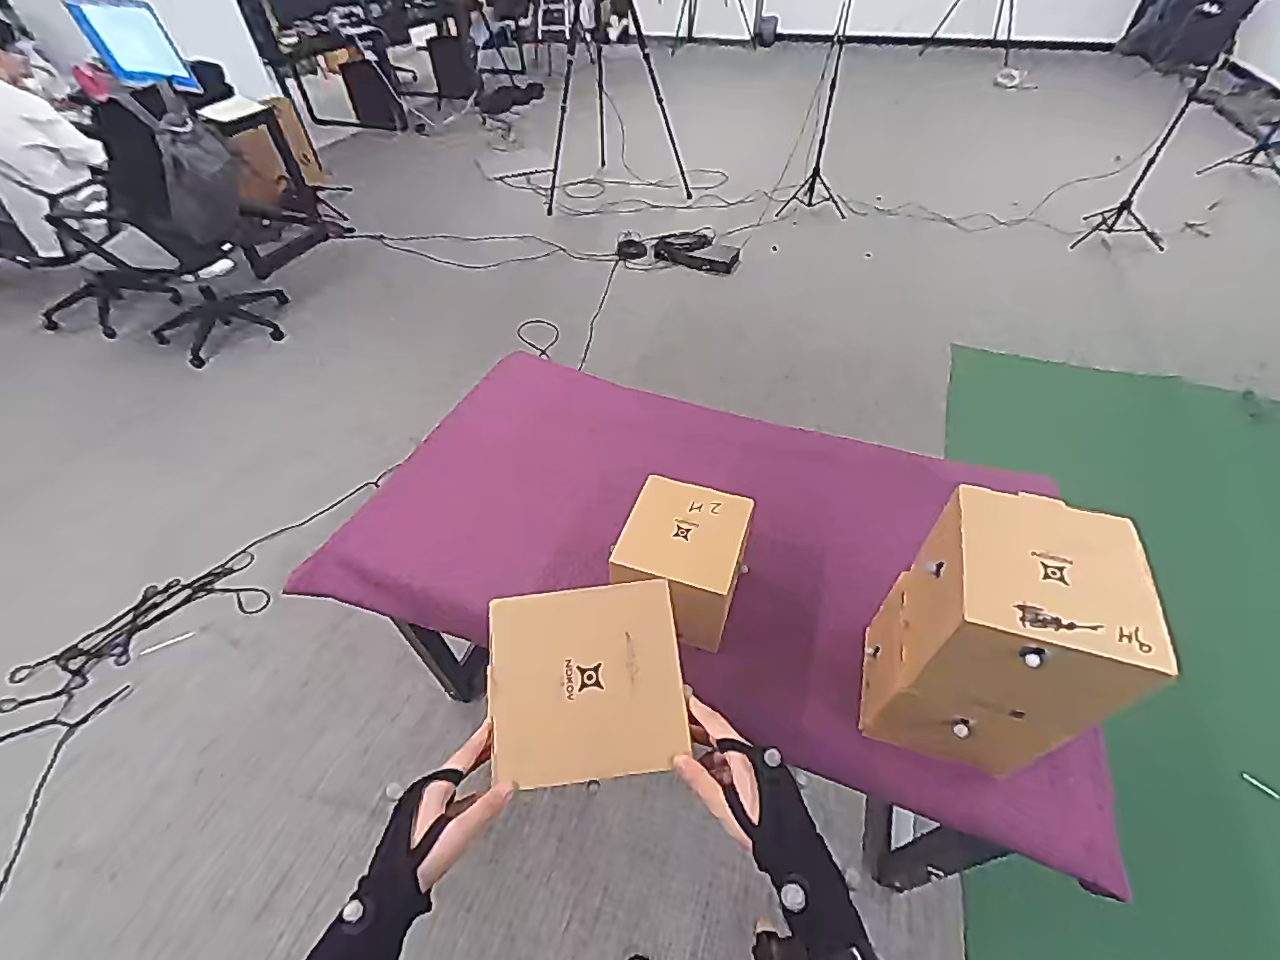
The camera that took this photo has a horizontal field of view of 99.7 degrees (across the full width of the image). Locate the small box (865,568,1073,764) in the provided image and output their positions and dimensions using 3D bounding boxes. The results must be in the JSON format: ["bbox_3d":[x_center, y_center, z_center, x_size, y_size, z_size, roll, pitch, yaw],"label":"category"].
[{"bbox_3d":[0.407,0.243,0.698,0.179,0.176,0.168,11,50,16],"label":"small box"}]

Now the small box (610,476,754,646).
[{"bbox_3d":[0.068,0.126,0.826,0.168,0.176,0.179,14,49,15],"label":"small box"}]

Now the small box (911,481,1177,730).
[{"bbox_3d":[0.401,0.132,0.578,0.168,0.176,0.179,12,50,16],"label":"small box"}]

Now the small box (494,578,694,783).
[{"bbox_3d":[-0.043,0.211,0.567,0.179,0.176,0.168,-7,66,-1],"label":"small box"}]
